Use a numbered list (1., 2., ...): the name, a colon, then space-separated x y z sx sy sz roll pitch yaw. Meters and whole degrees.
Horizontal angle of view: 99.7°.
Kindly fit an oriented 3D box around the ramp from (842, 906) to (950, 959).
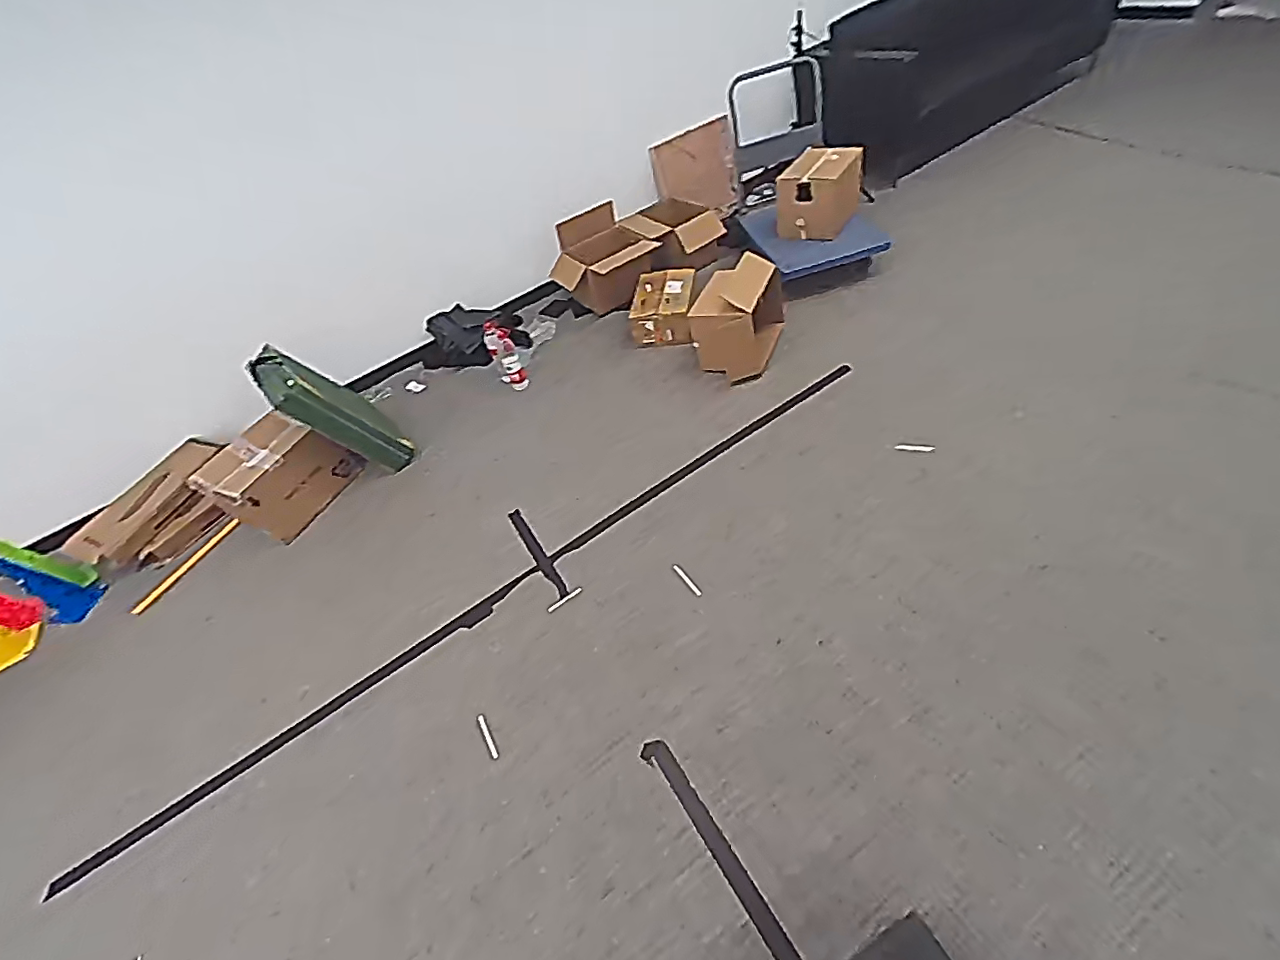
1. ramp: 0.590 1.291 0.766 0.509 0.206 0.991 -31 48 -14
